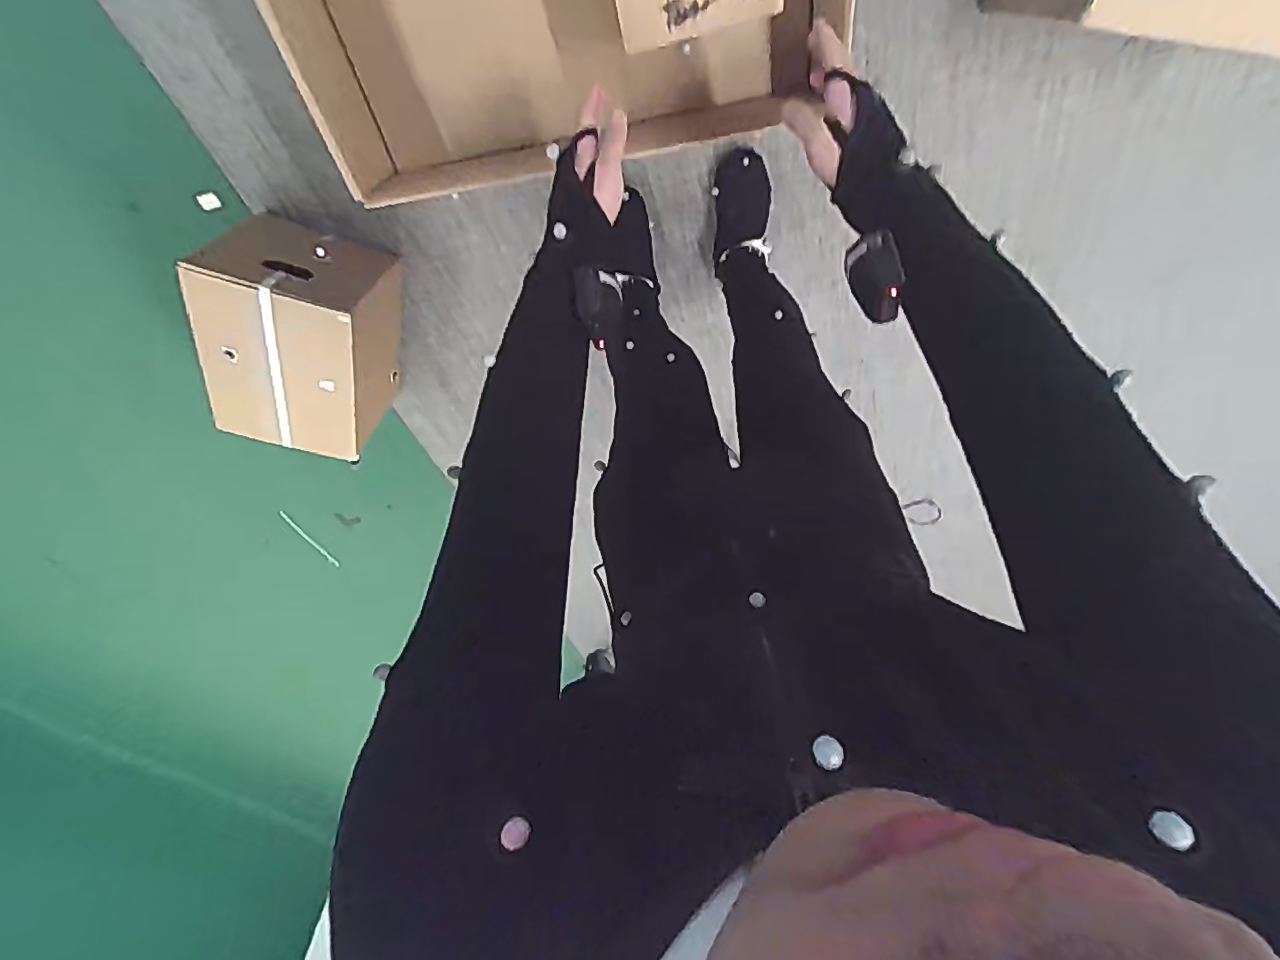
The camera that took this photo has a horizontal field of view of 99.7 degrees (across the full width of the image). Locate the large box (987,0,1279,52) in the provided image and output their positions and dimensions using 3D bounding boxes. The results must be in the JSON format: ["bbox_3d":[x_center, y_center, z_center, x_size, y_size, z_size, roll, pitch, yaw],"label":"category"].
[{"bbox_3d":[0.828,-0.843,0.774,0.408,0.320,0.320,5,133,-3],"label":"large box"}]

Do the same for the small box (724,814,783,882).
[{"bbox_3d":[0.394,1.282,1.884,0.168,0.176,0.179,-13,133,11],"label":"small box"}]
